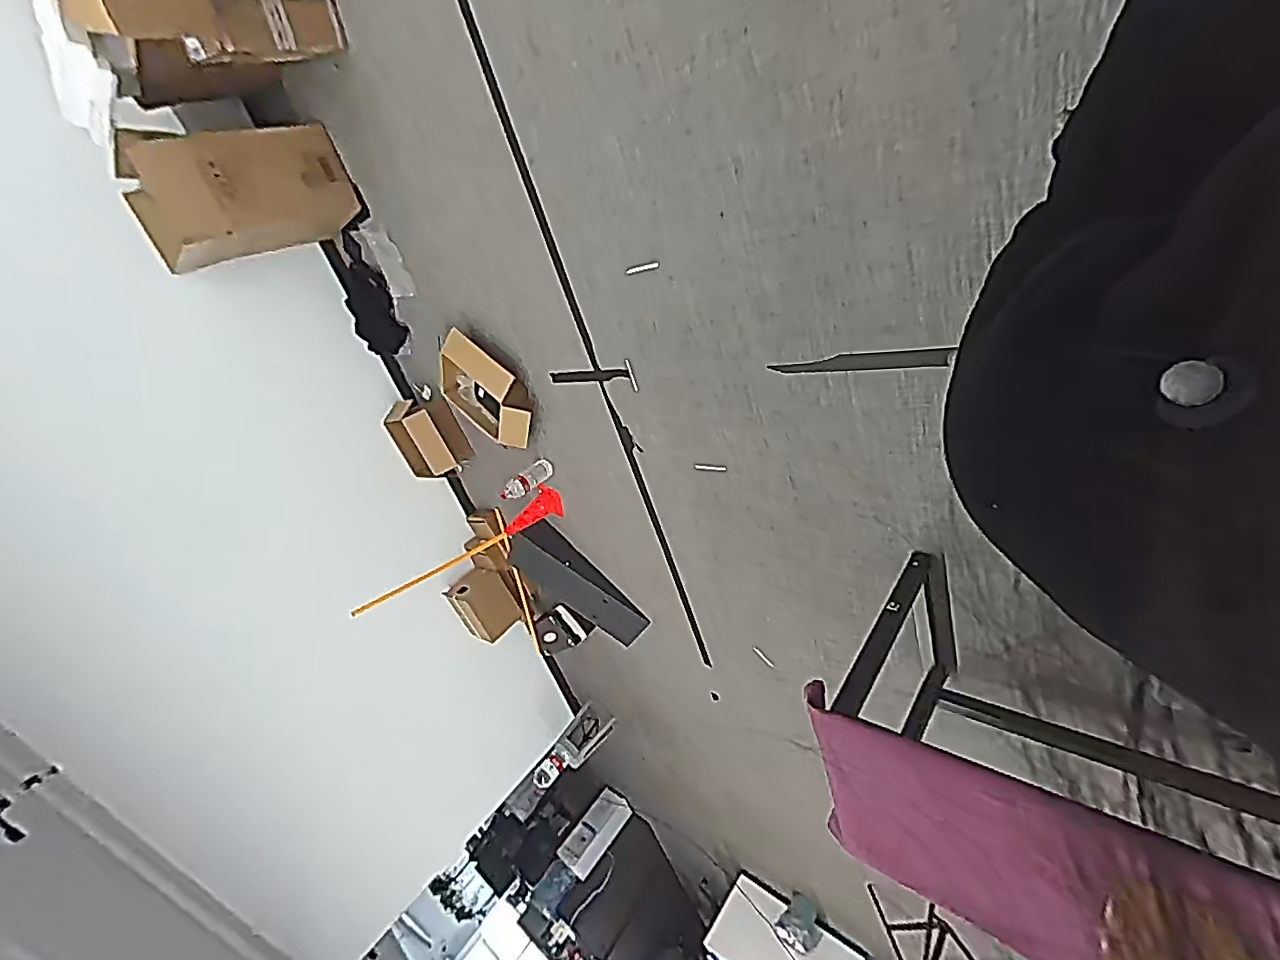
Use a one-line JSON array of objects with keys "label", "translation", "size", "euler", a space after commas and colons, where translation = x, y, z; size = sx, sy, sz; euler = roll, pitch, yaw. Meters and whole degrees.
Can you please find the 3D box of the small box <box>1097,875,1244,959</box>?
[{"label": "small box", "translation": [0.898, 0.835, 0.922], "size": [0.168, 0.176, 0.179], "euler": [9, 128, 42]}]
